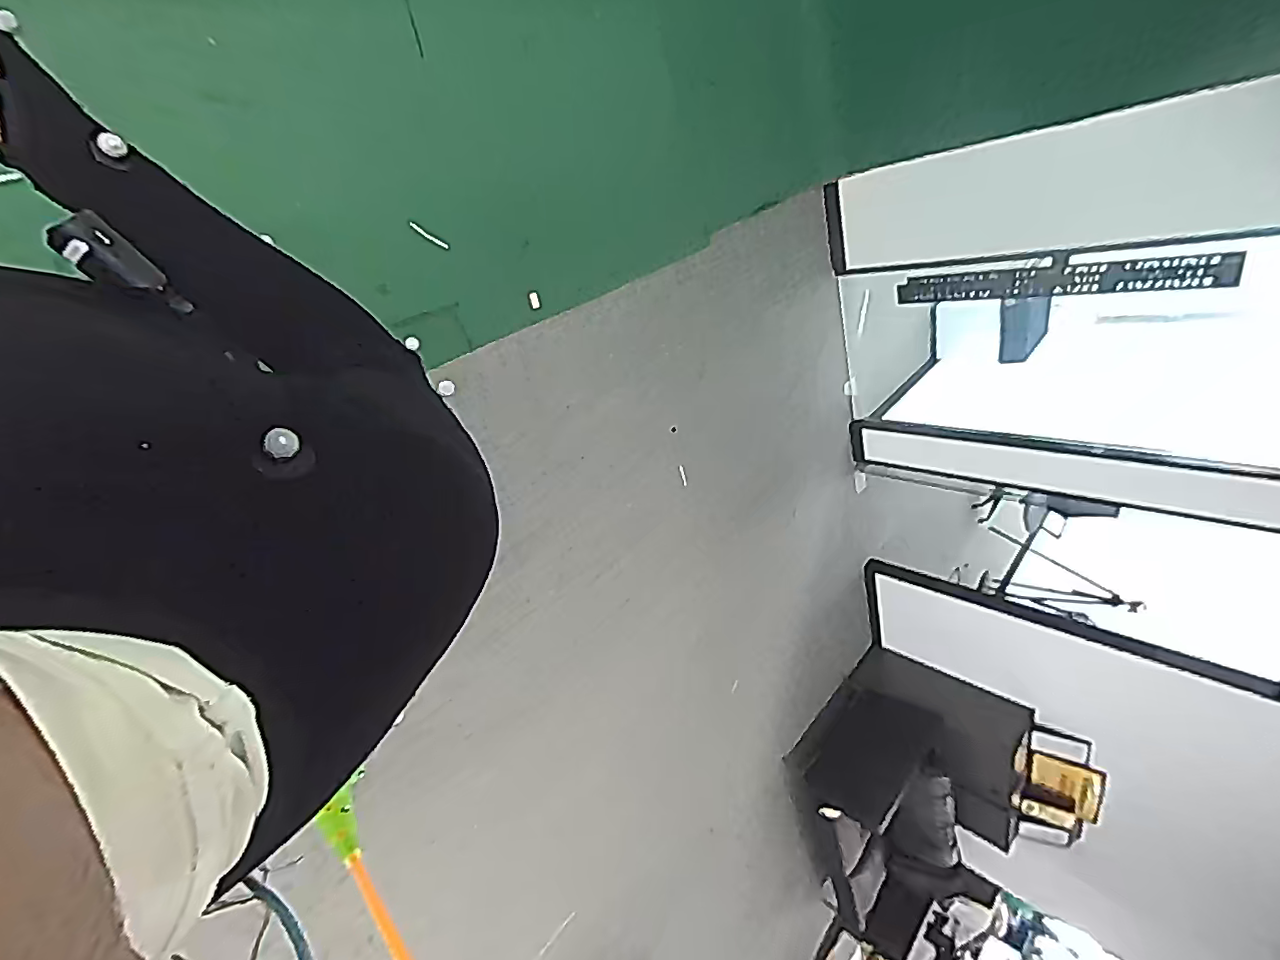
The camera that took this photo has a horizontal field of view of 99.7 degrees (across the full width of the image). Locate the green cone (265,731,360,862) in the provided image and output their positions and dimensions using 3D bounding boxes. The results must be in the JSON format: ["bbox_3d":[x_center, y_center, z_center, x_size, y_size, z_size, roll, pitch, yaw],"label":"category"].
[{"bbox_3d":[-0.878,0.922,1.520,0.202,0.368,0.200,-36,123,-29],"label":"green cone"}]
